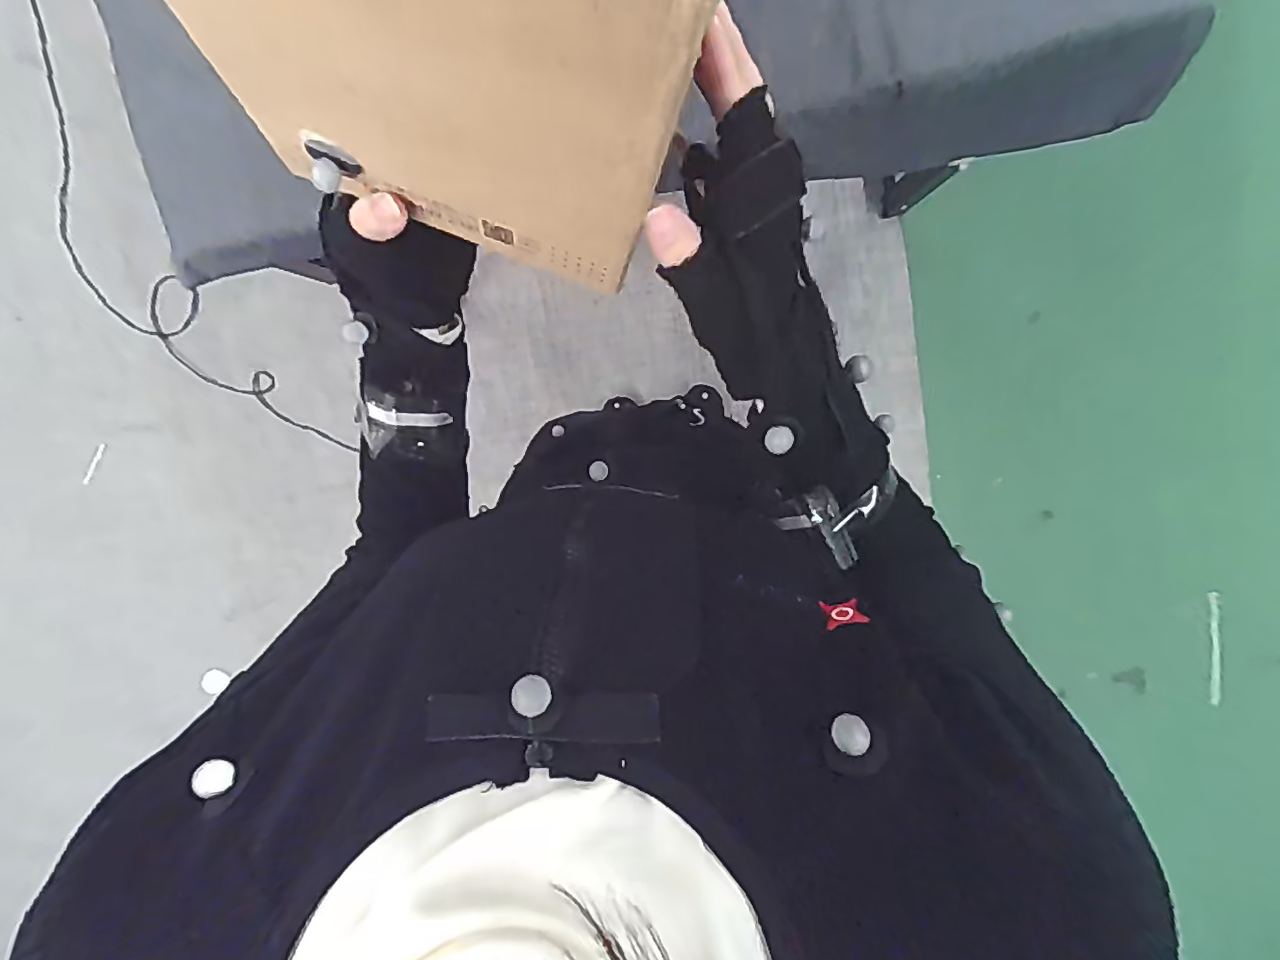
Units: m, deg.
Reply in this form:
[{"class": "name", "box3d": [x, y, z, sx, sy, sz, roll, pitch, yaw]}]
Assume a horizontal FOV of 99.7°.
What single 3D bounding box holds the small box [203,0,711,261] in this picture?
[{"class": "small box", "box3d": [-0.051, -0.216, 0.200, 0.168, 0.176, 0.179, 18, 83, -8]}]
